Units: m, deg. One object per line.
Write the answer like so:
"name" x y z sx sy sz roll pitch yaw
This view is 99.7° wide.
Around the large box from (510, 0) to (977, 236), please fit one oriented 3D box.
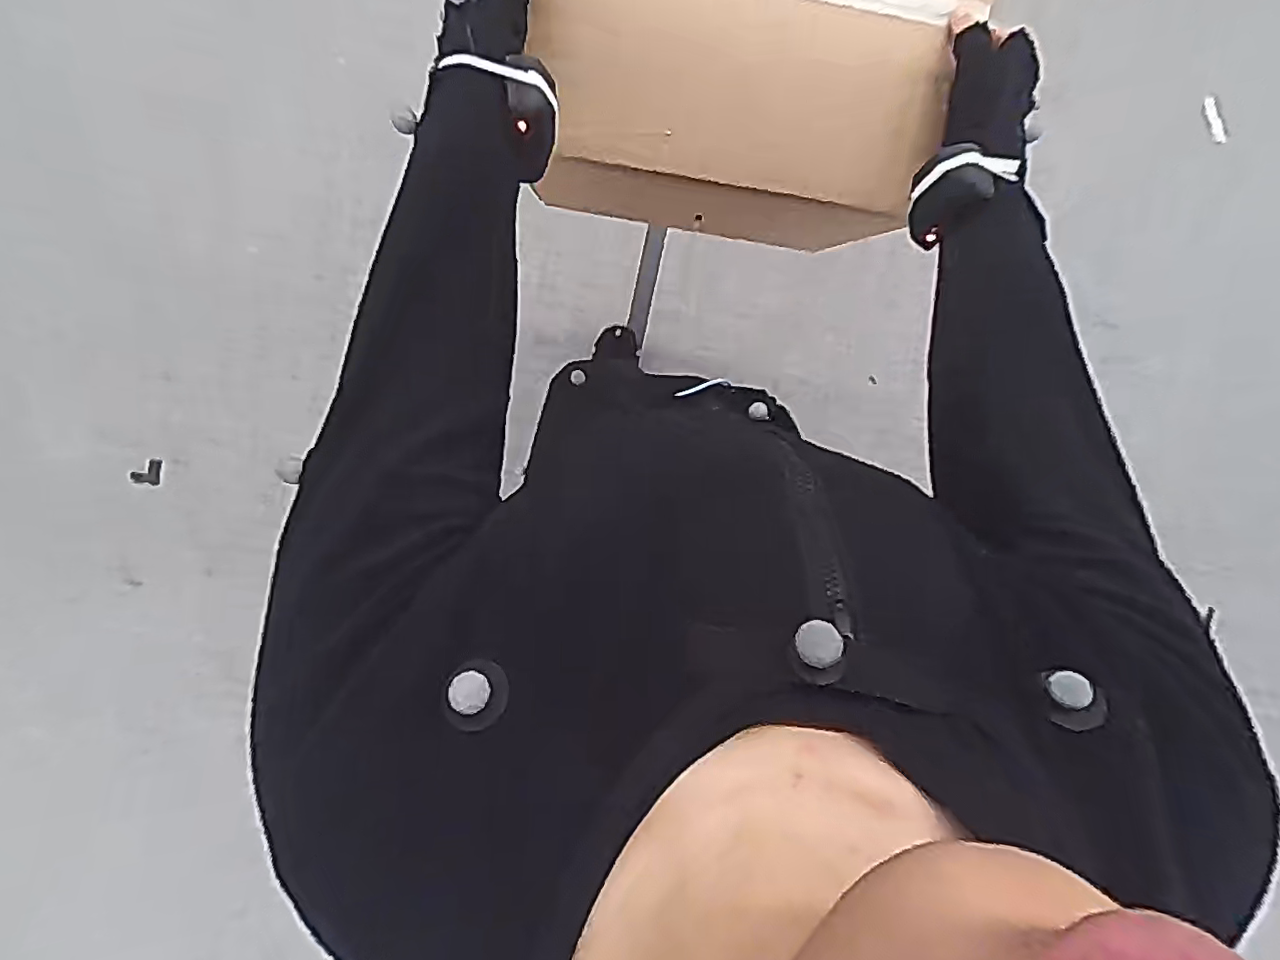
"large box" 0.092 -0.478 0.602 0.408 0.320 0.320 7 106 -5
